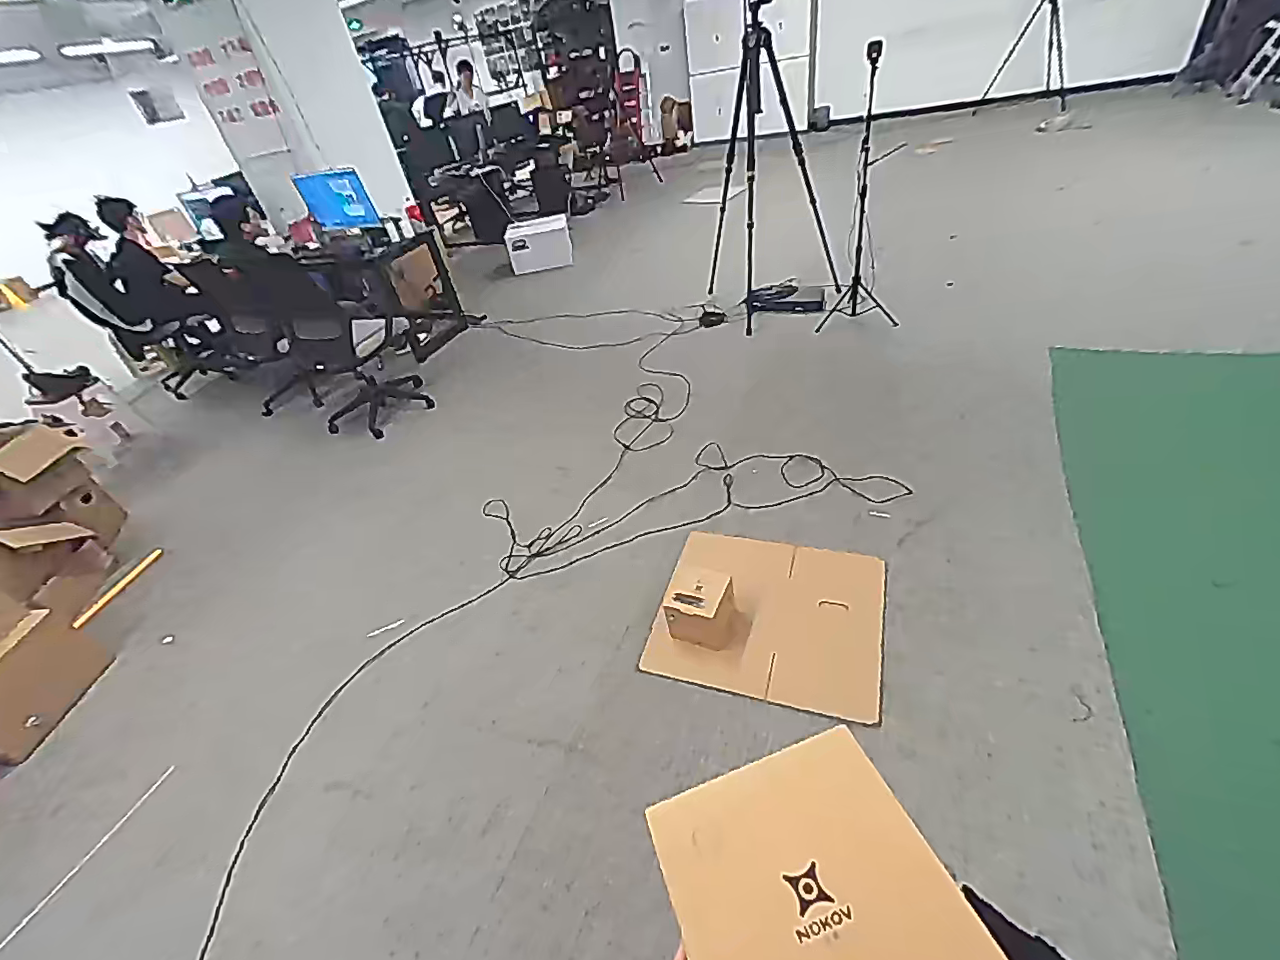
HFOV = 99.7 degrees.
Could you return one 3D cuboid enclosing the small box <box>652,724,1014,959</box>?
[{"bbox_3d":[0.120,0.317,0.376,0.168,0.176,0.179,-18,35,-9],"label":"small box"}]
